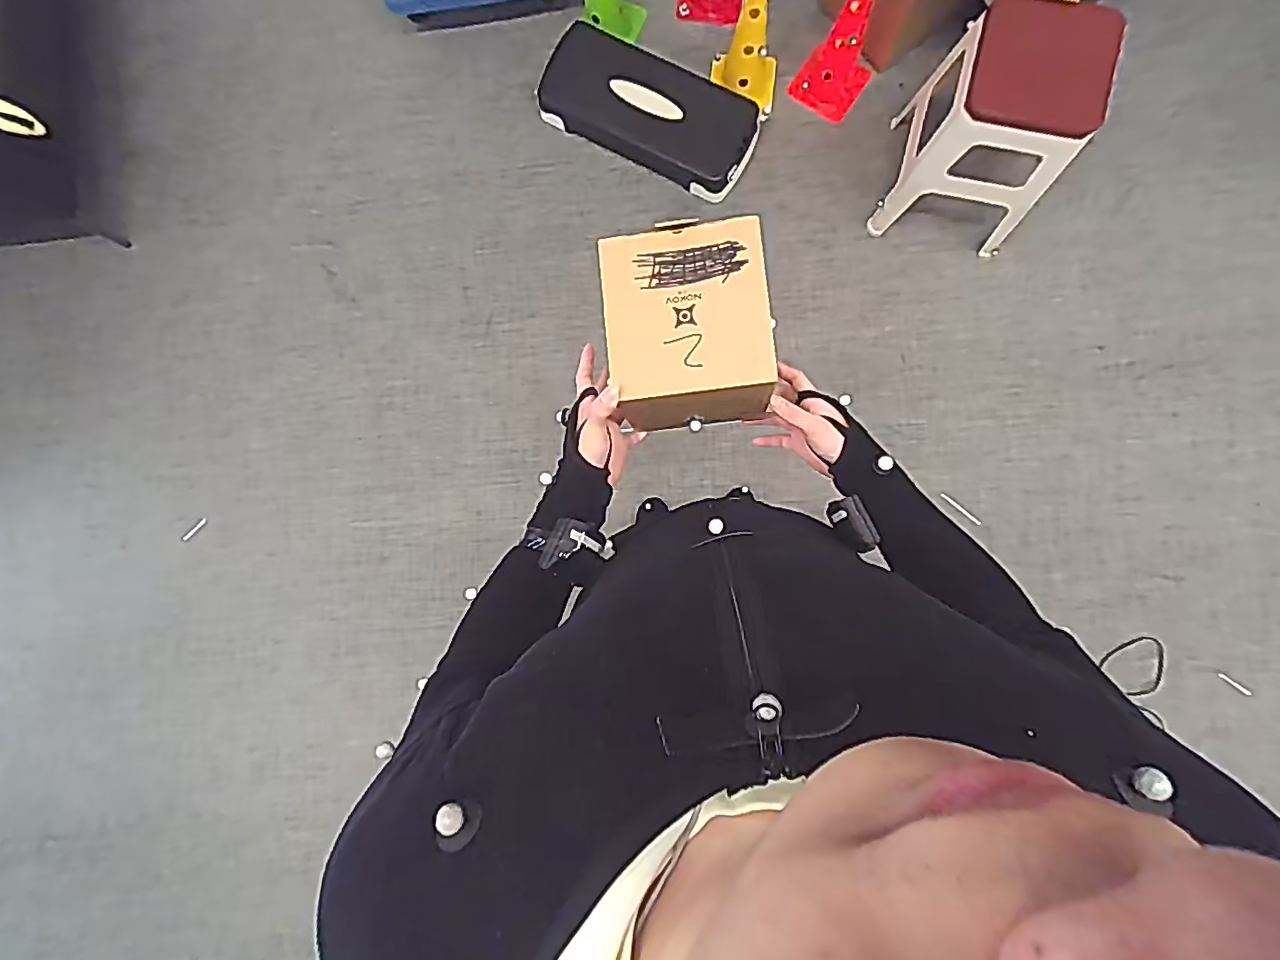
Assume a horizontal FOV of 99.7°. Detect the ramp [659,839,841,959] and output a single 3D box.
[{"bbox_3d":[0.327,1.544,1.465,0.509,0.206,0.991,-7,86,5],"label":"ramp"}]
